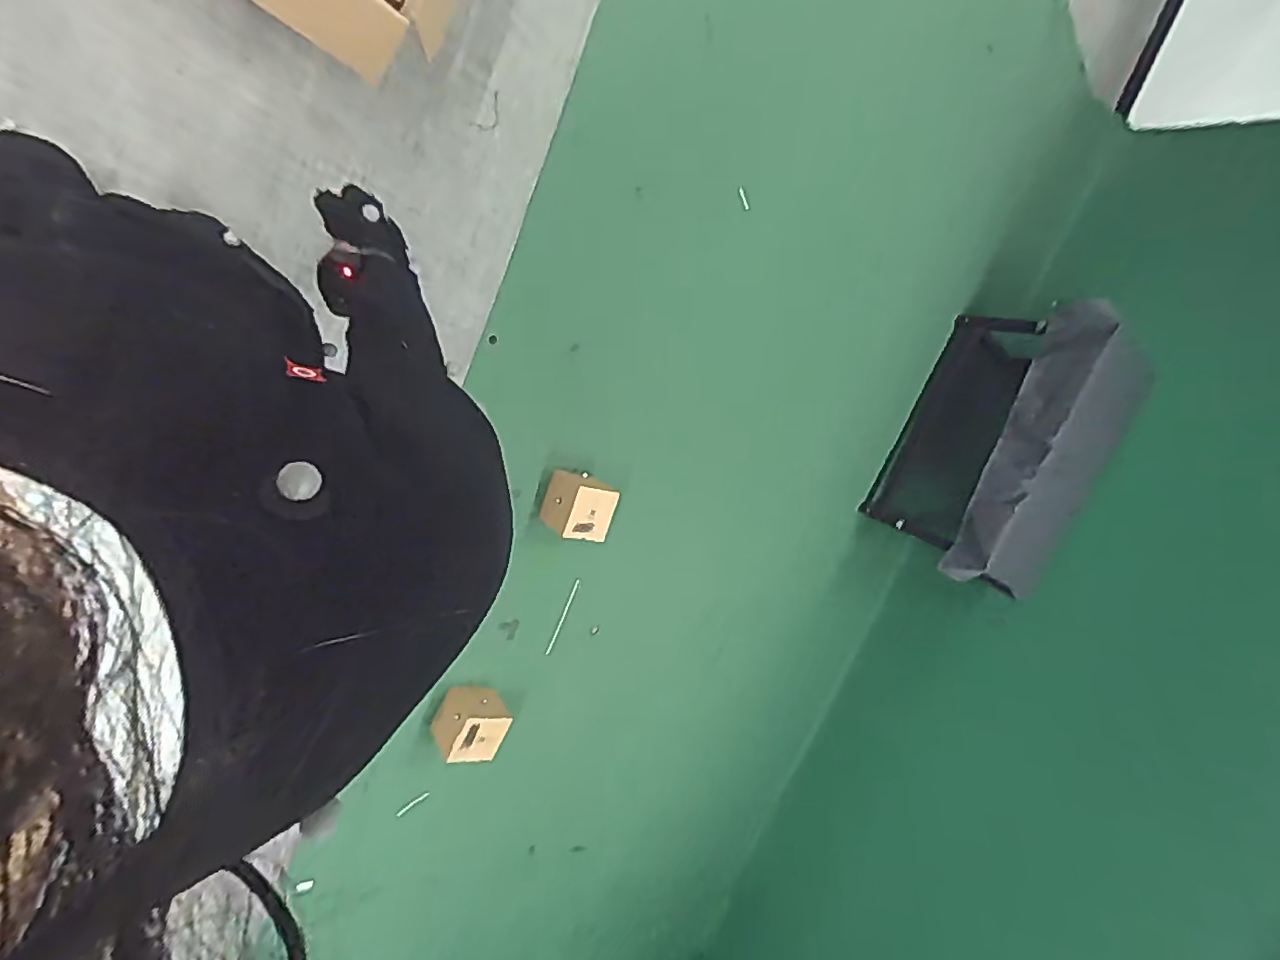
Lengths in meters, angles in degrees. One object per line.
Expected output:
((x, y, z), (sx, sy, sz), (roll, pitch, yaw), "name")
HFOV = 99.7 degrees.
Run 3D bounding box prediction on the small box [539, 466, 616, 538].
((-0.211, 0.072, 1.772), (0.168, 0.176, 0.179), (12, 101, -41), "small box")
